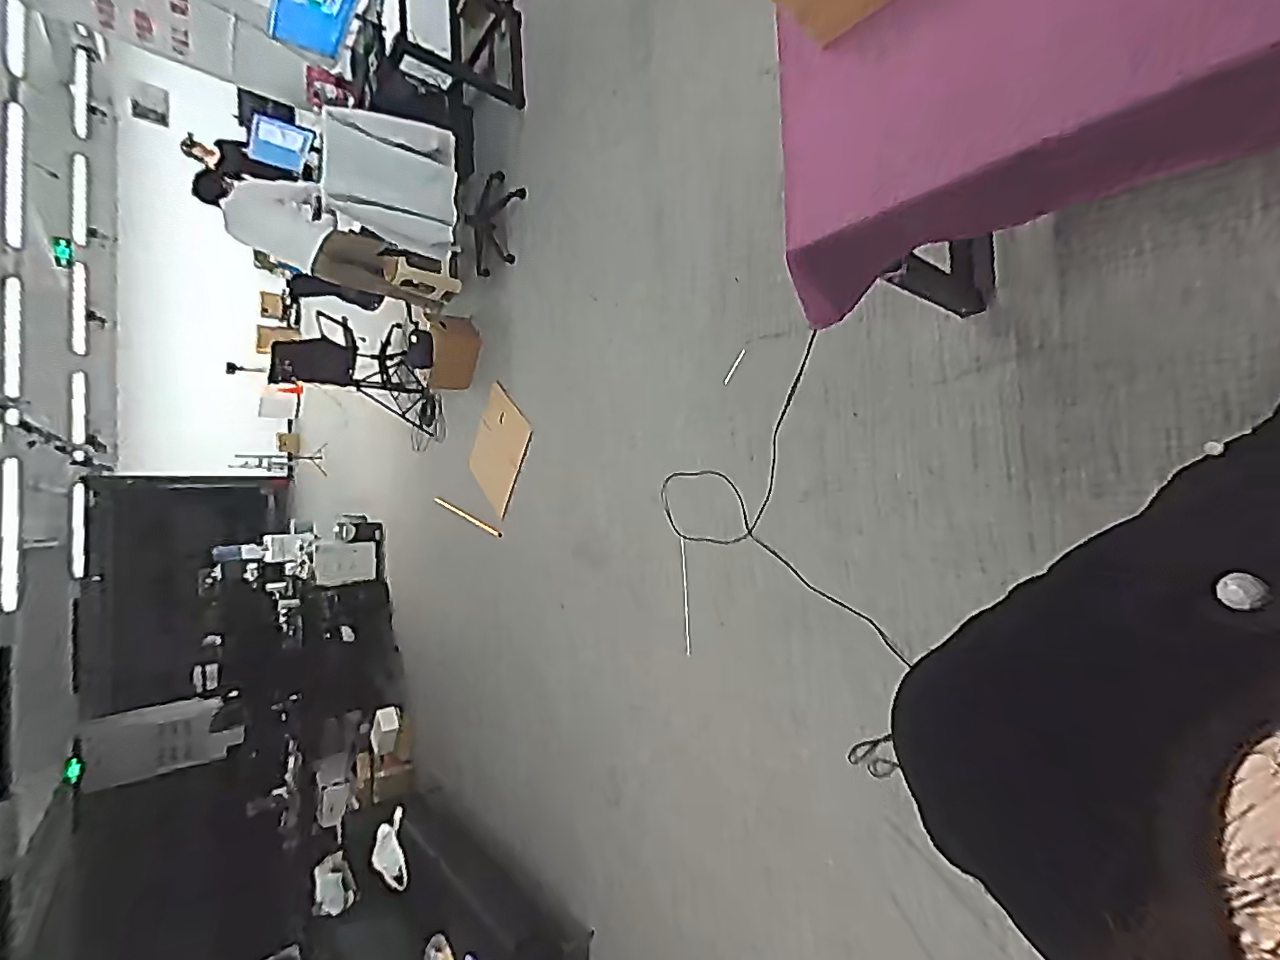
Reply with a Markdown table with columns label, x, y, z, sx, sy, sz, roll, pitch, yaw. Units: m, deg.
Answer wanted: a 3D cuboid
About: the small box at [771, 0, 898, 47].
| label | x | y | z | sx | sy | sz | roll | pitch | yaw |
| --- | --- | --- | --- | --- | --- | --- | --- | --- | --- |
| small box | 0.302 | -0.798 | 0.787 | 0.179 | 0.176 | 0.168 | -2 | 88 | 50 |
